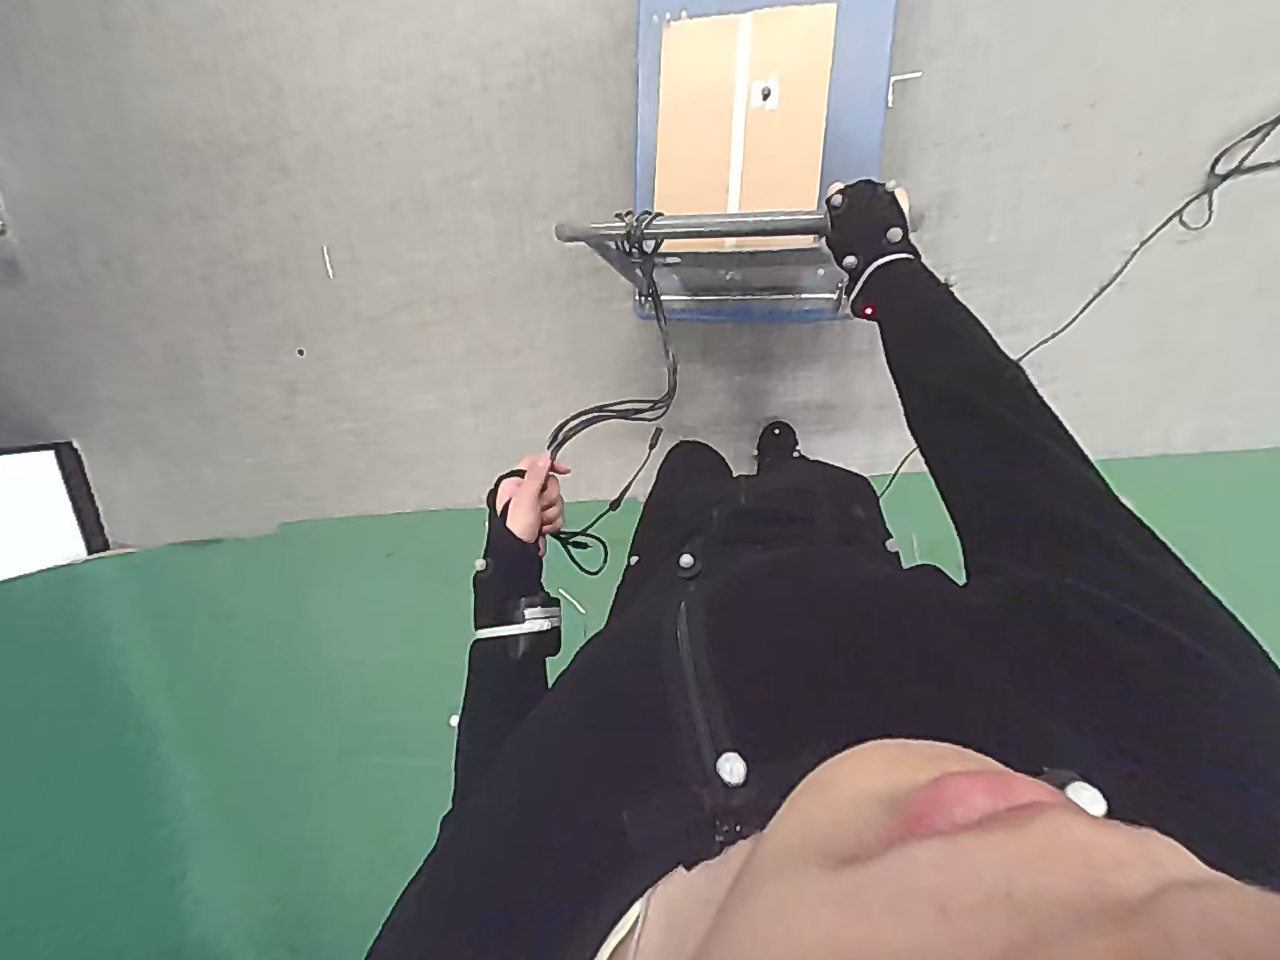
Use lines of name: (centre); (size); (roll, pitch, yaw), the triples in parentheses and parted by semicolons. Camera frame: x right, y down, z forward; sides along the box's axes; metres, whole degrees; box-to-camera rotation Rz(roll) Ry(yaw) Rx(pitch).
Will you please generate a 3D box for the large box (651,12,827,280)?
large box: (0.215, -0.671, 1.169); (0.320, 0.320, 0.408); (5, 100, 12)
